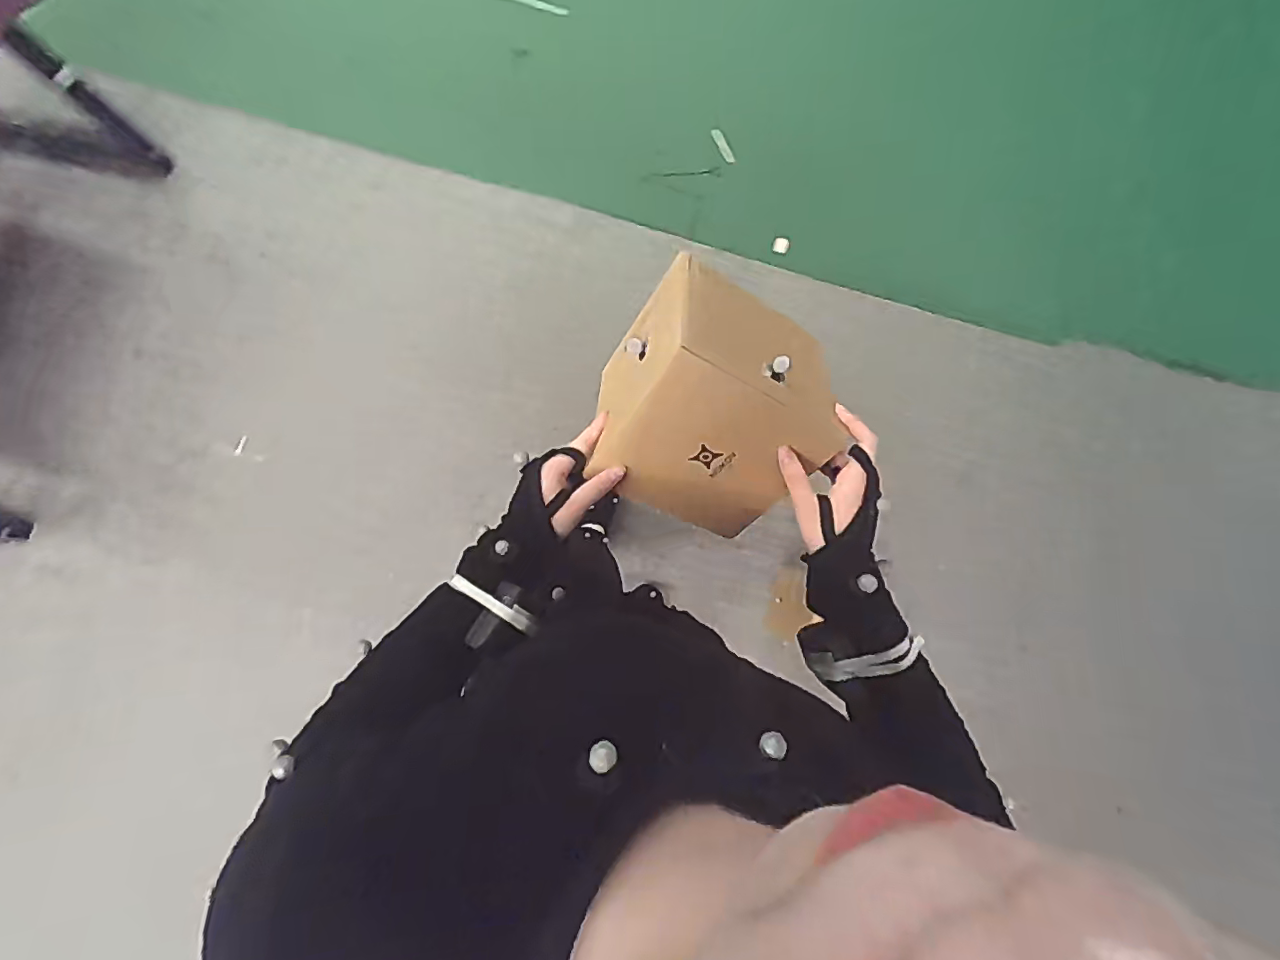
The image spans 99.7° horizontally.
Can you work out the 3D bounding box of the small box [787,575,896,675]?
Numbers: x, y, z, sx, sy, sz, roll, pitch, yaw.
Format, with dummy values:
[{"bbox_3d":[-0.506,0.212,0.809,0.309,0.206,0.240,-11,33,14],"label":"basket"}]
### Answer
[{"bbox_3d":[0.461,0.328,1.261,0.168,0.176,0.179,19,81,2],"label":"small box"}]
